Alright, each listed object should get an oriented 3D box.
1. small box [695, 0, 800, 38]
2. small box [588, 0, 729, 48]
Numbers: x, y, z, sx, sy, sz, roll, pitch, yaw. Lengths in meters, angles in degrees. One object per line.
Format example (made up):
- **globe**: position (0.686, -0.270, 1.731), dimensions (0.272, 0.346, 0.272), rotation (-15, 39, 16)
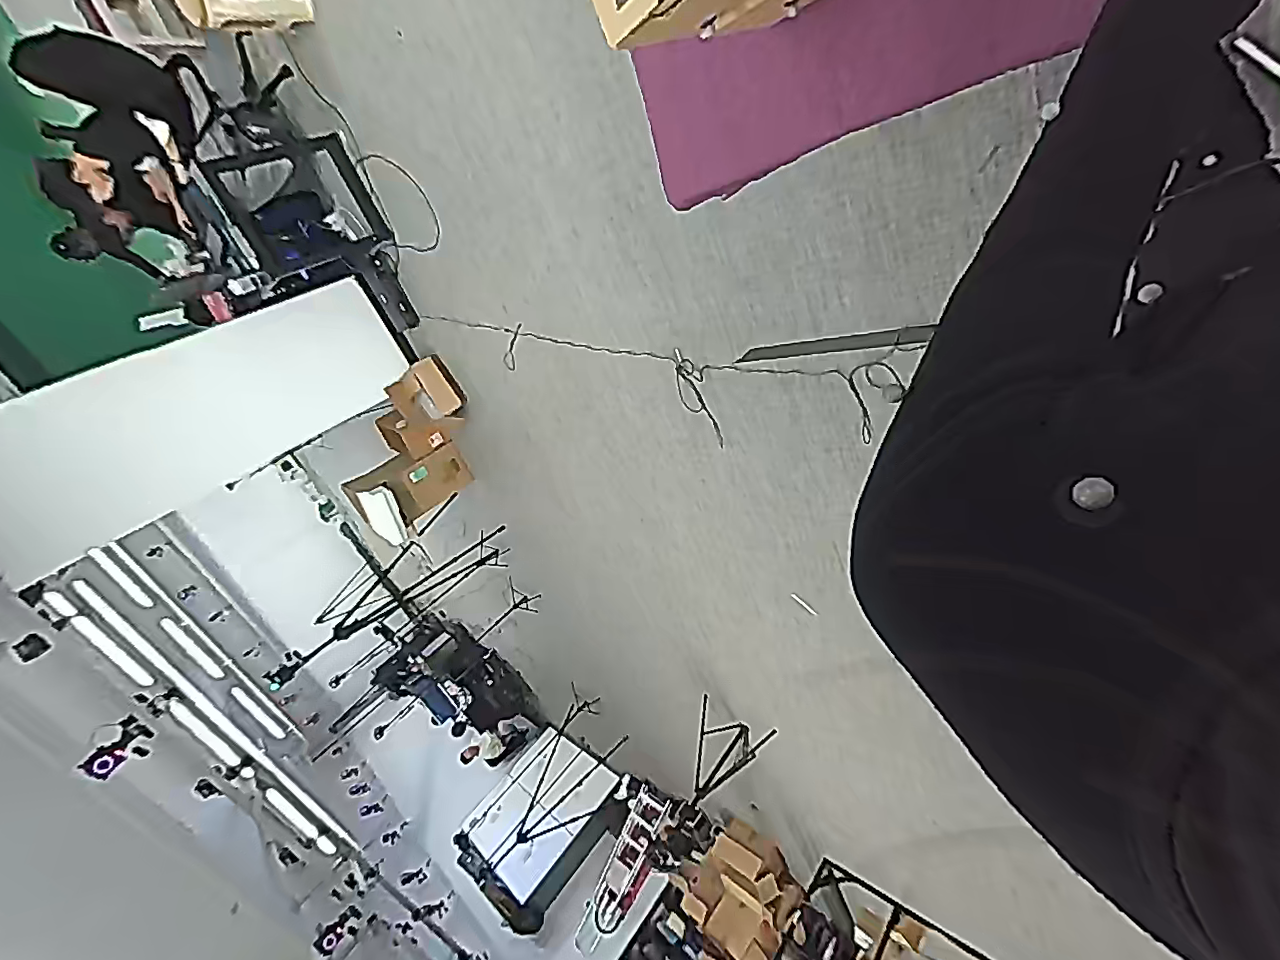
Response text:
- **small box**: position (0.150, -0.646, 0.606), dimensions (0.168, 0.176, 0.179), rotation (8, 130, 45)
- **small box**: position (0.038, -0.564, 0.516), dimensions (0.168, 0.176, 0.179), rotation (3, 126, 48)
